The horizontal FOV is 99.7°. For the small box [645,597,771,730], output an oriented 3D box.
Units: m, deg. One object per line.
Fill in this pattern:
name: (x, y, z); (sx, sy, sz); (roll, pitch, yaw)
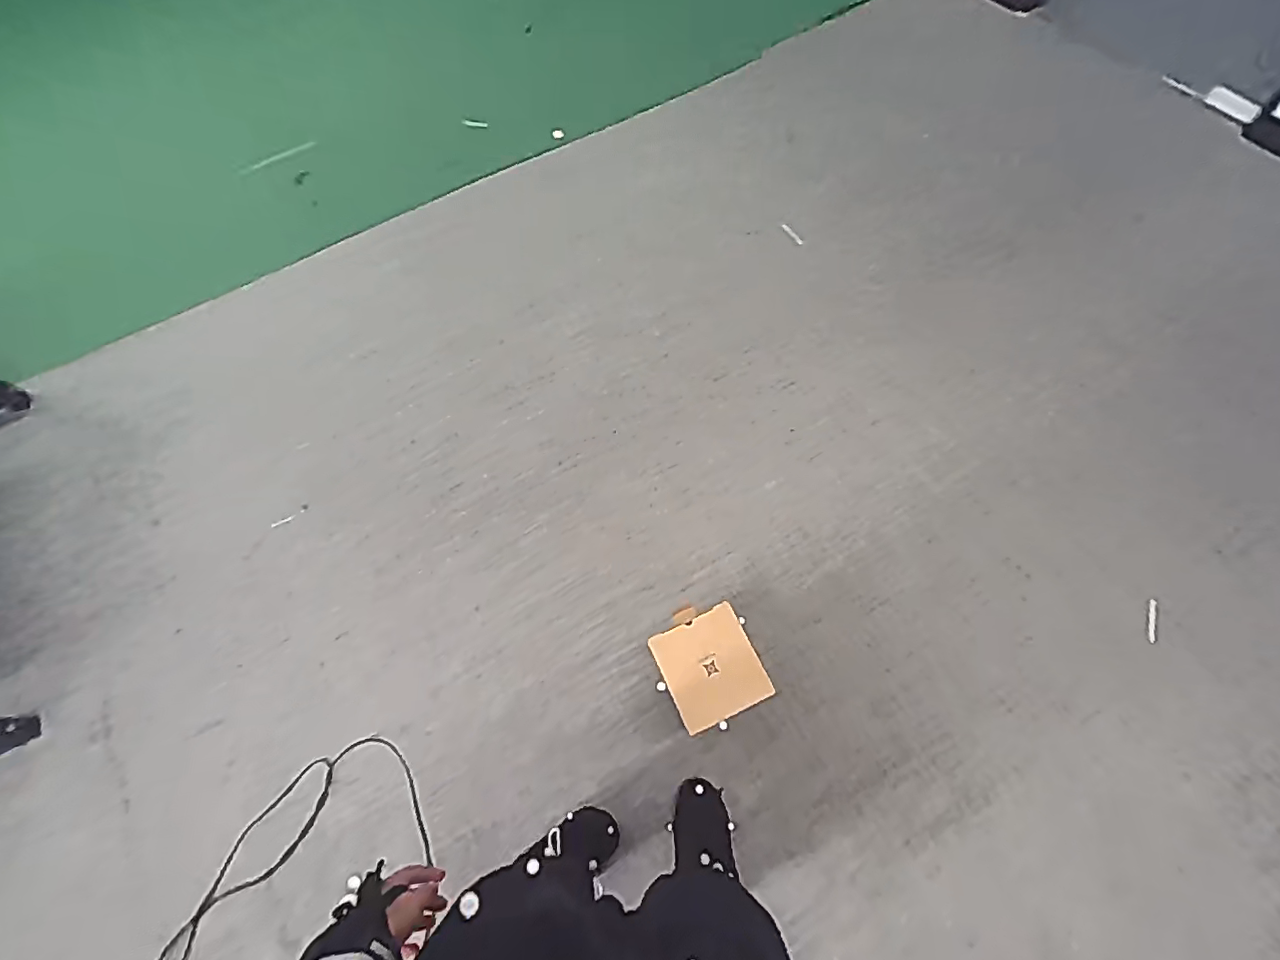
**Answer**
small box: (0.125, 0.346, 1.013); (0.168, 0.176, 0.179); (-25, 65, -5)
